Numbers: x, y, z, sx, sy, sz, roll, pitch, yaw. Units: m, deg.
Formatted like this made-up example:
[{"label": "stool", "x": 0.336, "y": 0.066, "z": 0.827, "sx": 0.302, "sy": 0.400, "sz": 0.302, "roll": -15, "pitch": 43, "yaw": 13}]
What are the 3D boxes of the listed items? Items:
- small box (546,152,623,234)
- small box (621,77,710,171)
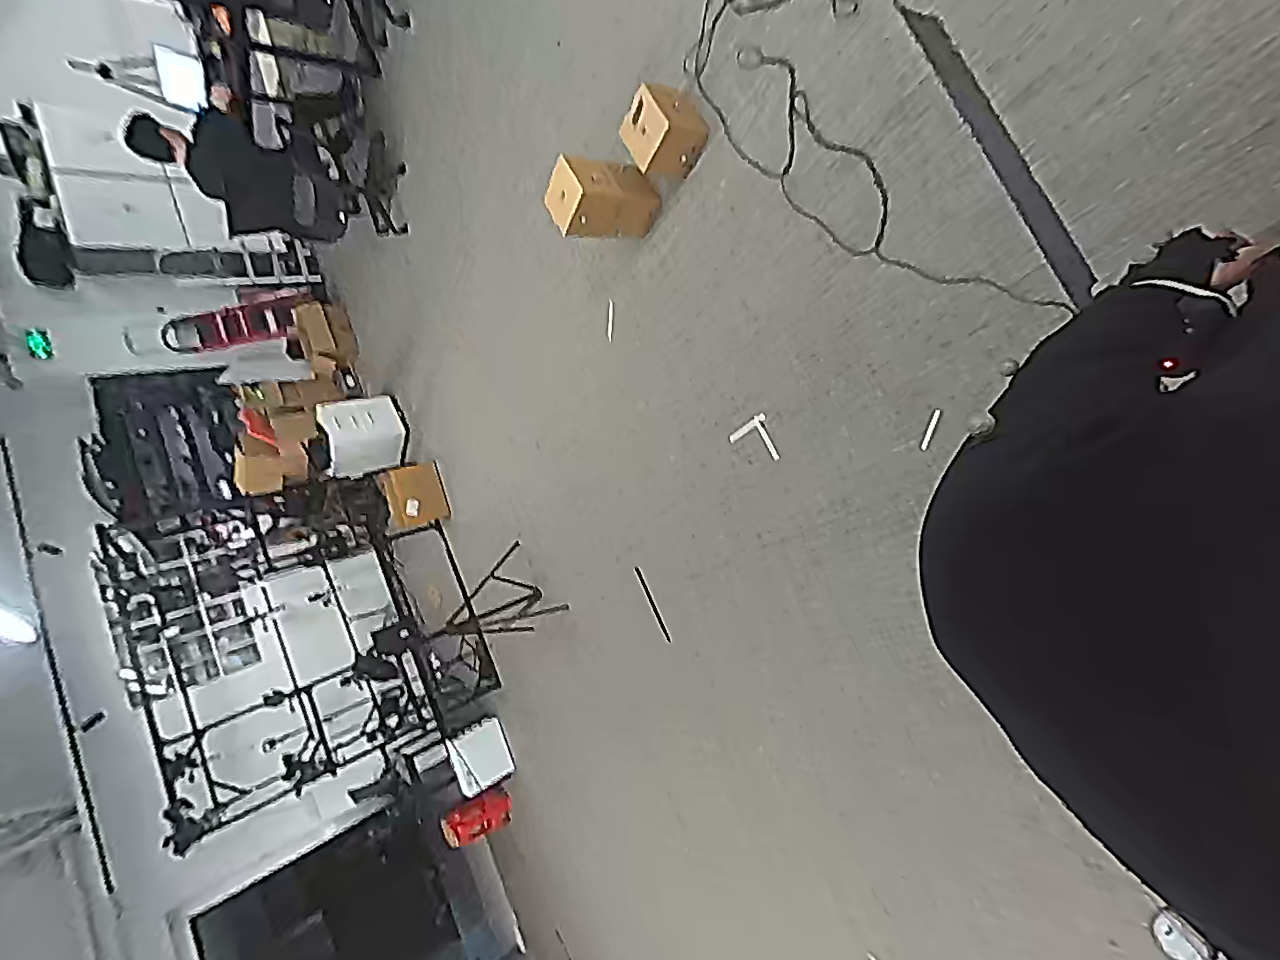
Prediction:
[{"label": "small box", "x": -0.177, "y": -0.932, "z": 1.767, "sx": 0.168, "sy": 0.176, "sz": 0.179, "roll": 61, "pitch": 142, "yaw": 15}, {"label": "small box", "x": 0.078, "y": -1.076, "z": 1.652, "sx": 0.168, "sy": 0.176, "sz": 0.179, "roll": -43, "pitch": 71, "yaw": 51}]
